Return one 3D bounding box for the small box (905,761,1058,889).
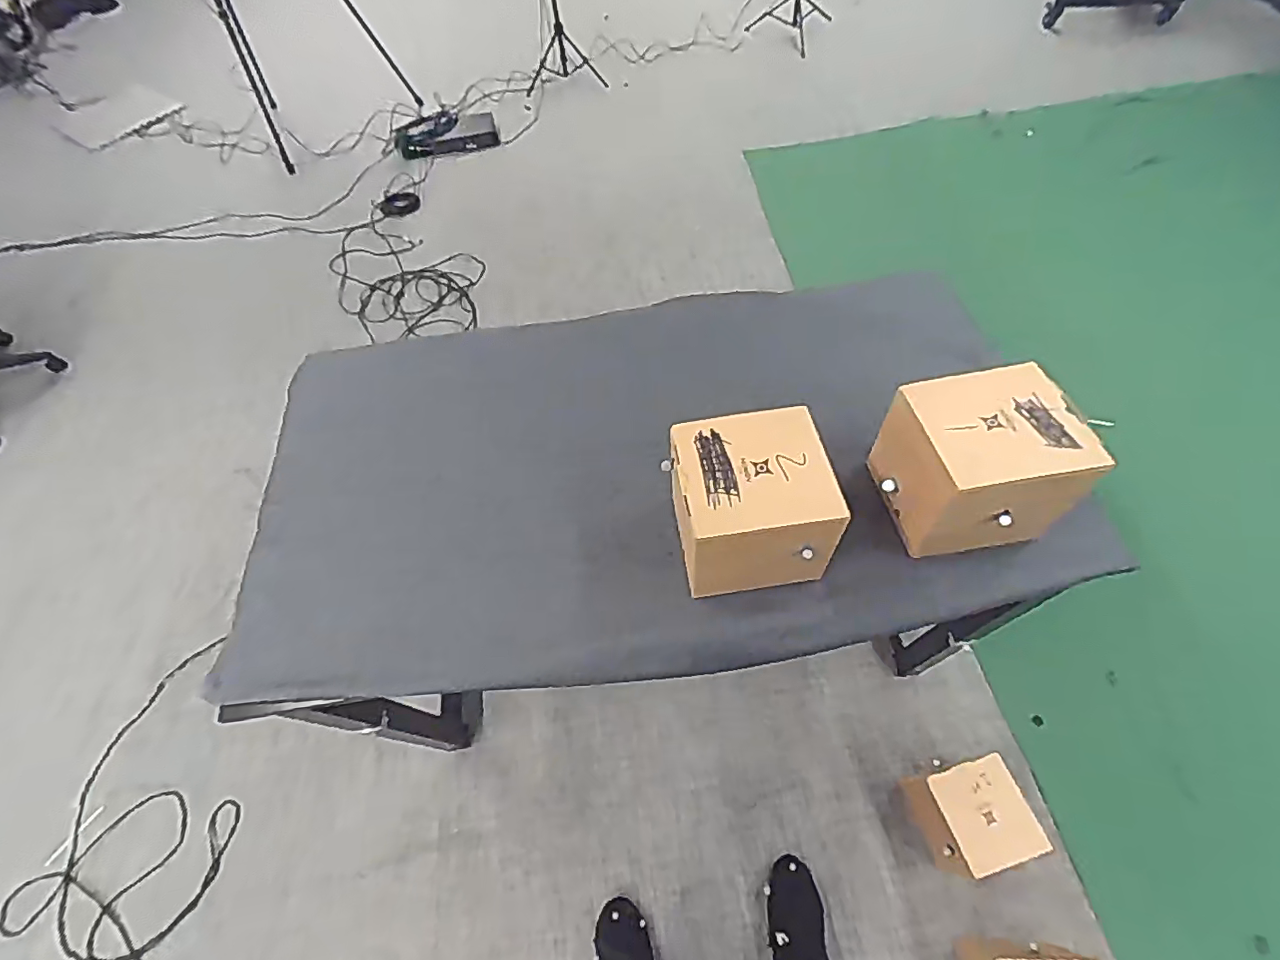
[{"bbox_3d":[0.679,0.694,1.102,0.168,0.176,0.179,-16,59,-5],"label":"small box"}]

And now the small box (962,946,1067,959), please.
[{"bbox_3d":[0.707,0.945,0.948,0.179,0.176,0.168,-2,60,5],"label":"small box"}]

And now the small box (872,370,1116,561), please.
[{"bbox_3d":[0.428,-0.014,0.693,0.179,0.176,0.168,-9,54,1],"label":"small box"}]
